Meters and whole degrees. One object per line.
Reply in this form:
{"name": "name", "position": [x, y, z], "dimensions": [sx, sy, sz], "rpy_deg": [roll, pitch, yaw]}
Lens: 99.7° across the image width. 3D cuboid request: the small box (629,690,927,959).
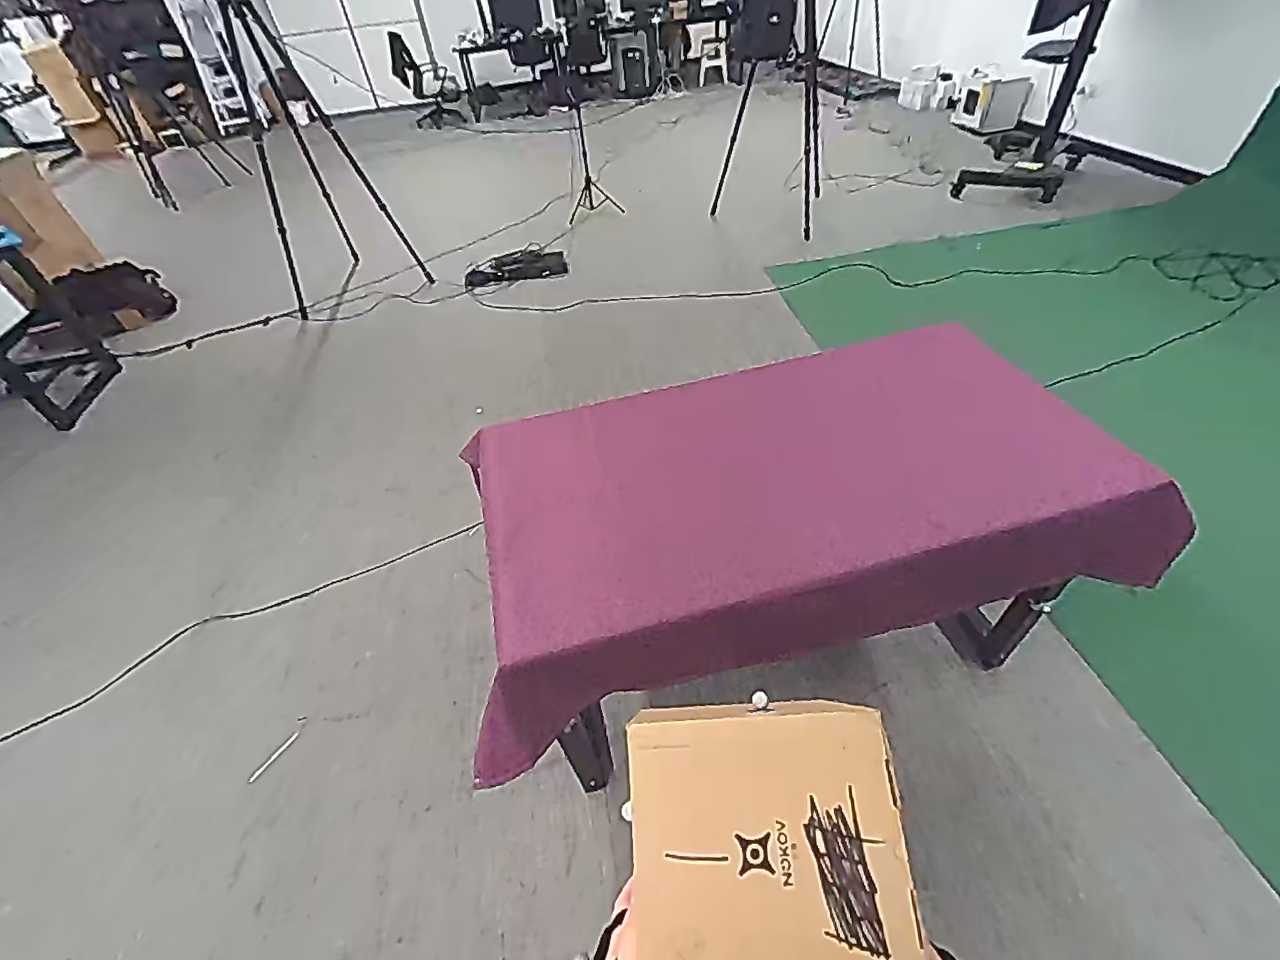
{"name": "small box", "position": [0.088, 0.259, 0.423], "dimensions": [0.179, 0.176, 0.168], "rpy_deg": [-5, 70, 3]}
